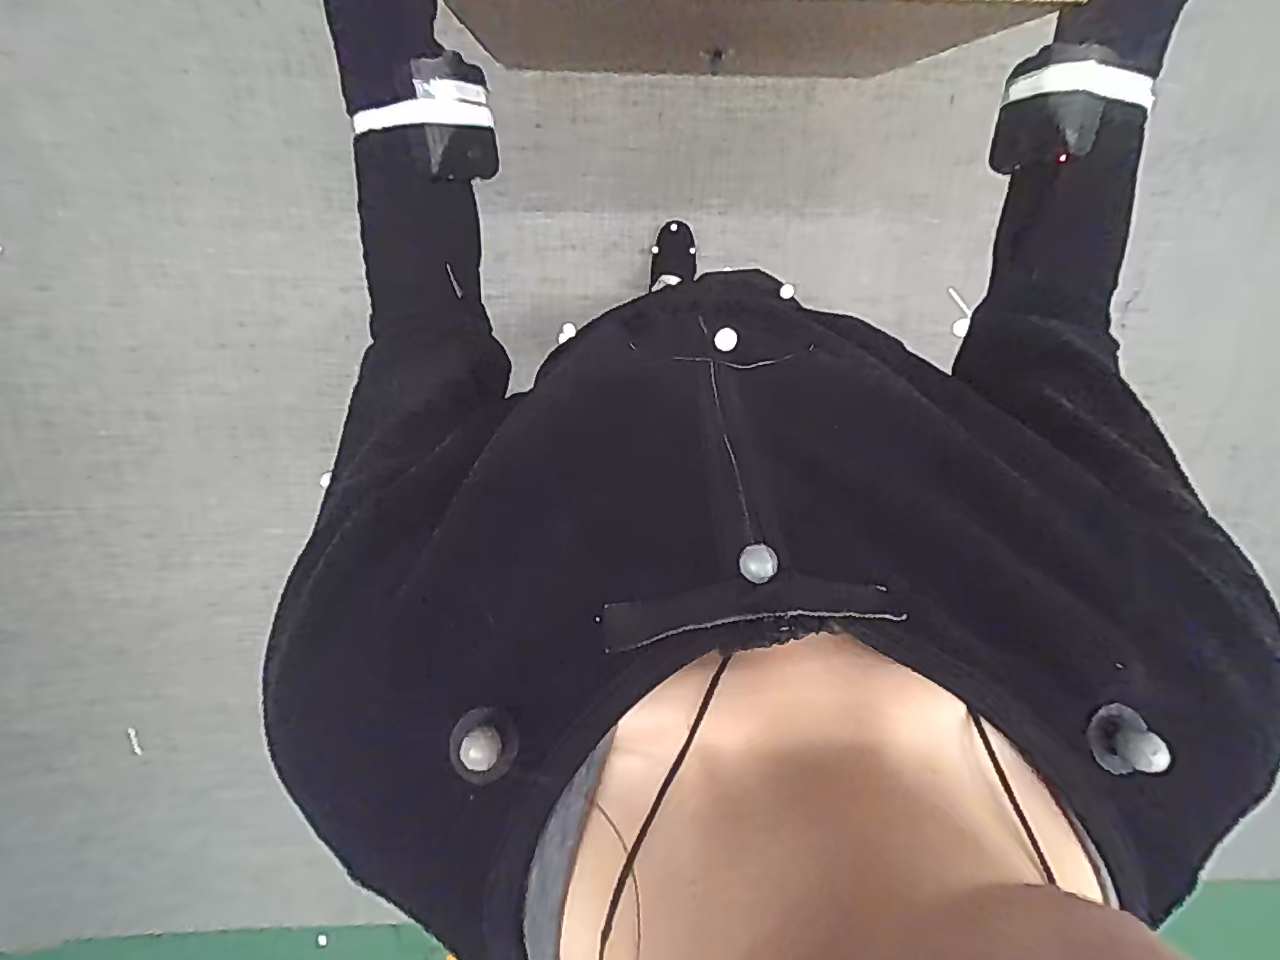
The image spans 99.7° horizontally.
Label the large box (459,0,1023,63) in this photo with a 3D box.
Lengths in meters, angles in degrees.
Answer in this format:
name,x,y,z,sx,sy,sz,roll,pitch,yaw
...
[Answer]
name,x,y,z,sx,sy,sz,roll,pitch,yaw
large box,0.070,-0.512,0.389,0.408,0.320,0.320,-2,119,-3
